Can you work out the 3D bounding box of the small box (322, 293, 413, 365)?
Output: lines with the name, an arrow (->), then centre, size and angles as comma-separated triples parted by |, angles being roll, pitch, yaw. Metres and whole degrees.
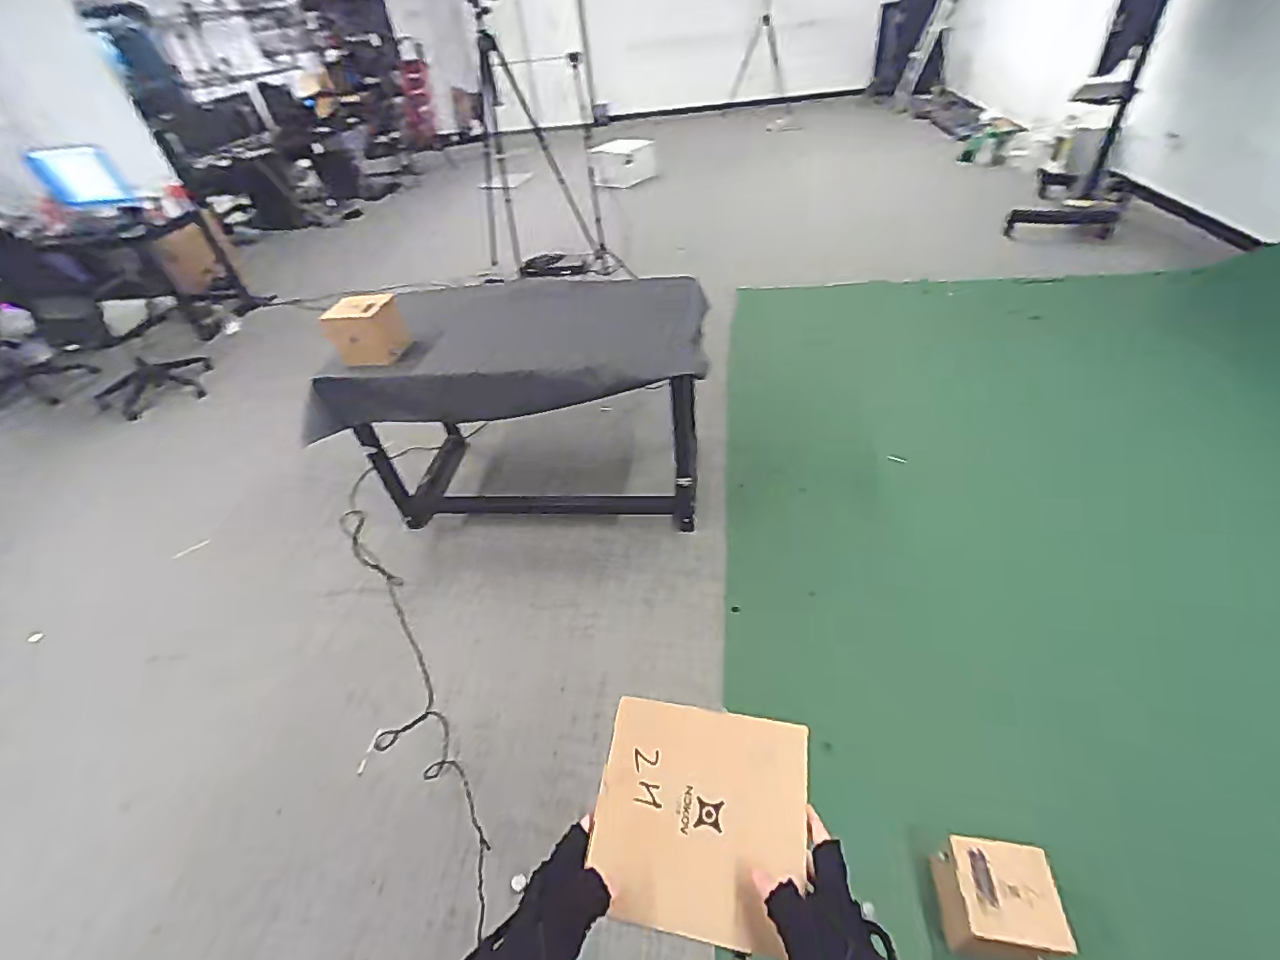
small box -> -0.869, -0.486, 1.746 | 0.179, 0.176, 0.168 | 0, 42, 9
